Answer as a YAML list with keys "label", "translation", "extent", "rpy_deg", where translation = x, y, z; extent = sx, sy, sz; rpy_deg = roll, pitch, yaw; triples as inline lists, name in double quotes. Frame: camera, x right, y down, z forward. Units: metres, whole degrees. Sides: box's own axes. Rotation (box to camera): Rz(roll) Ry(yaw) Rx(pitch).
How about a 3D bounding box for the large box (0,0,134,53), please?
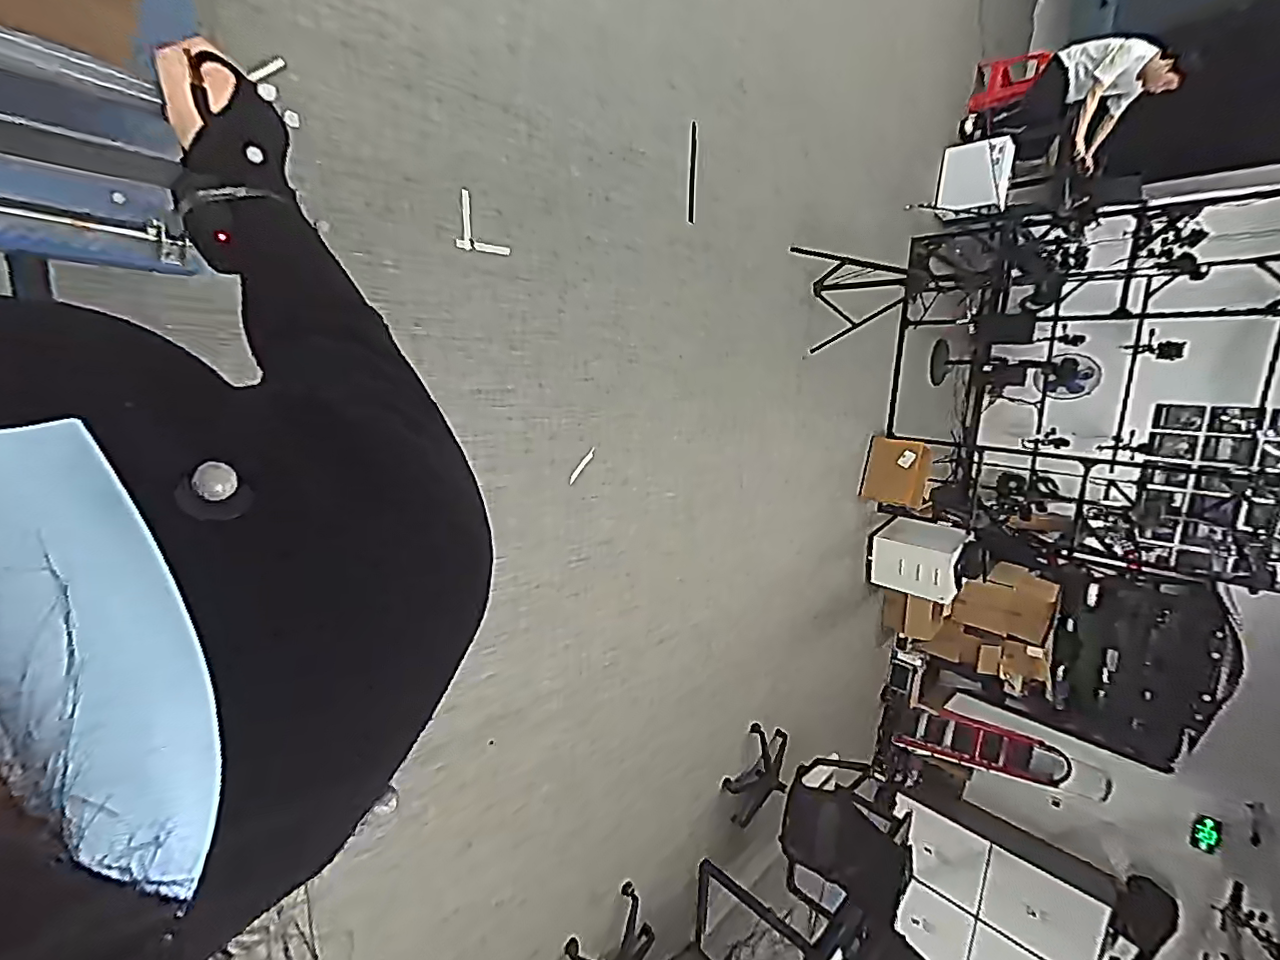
- label: "large box"
  translation: [-0.867, -0.801, 0.619]
  extent: [0.408, 0.320, 0.320]
  rpy_deg: [-4, 101, -45]
